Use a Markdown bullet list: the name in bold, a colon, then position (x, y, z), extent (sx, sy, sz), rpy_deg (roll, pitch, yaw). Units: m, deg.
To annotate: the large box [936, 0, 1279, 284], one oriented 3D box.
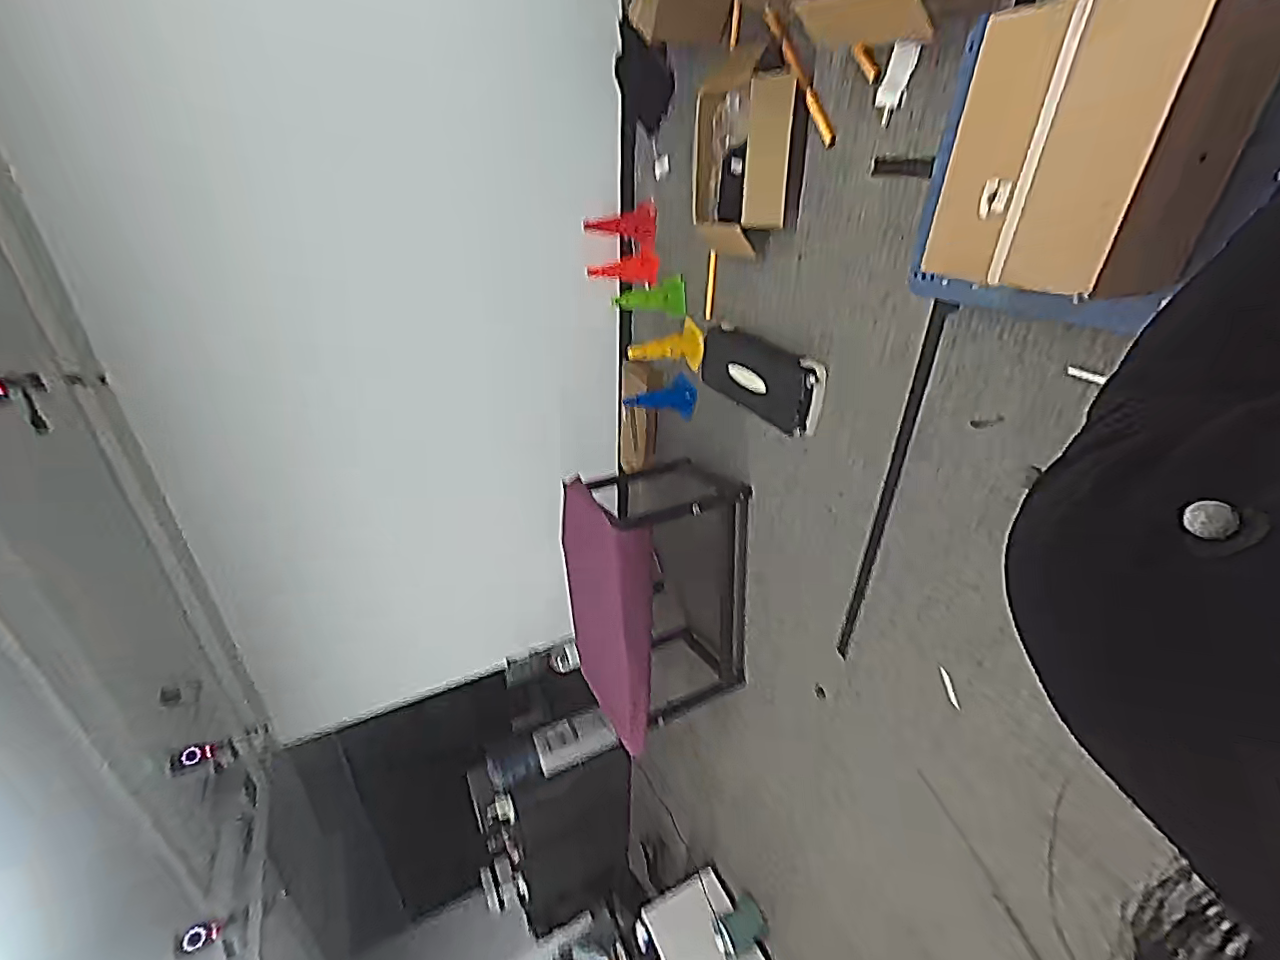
- **large box**: position (0.795, -0.582, 0.934), extent (0.320, 0.320, 0.408), rpy_deg (44, 140, 50)
